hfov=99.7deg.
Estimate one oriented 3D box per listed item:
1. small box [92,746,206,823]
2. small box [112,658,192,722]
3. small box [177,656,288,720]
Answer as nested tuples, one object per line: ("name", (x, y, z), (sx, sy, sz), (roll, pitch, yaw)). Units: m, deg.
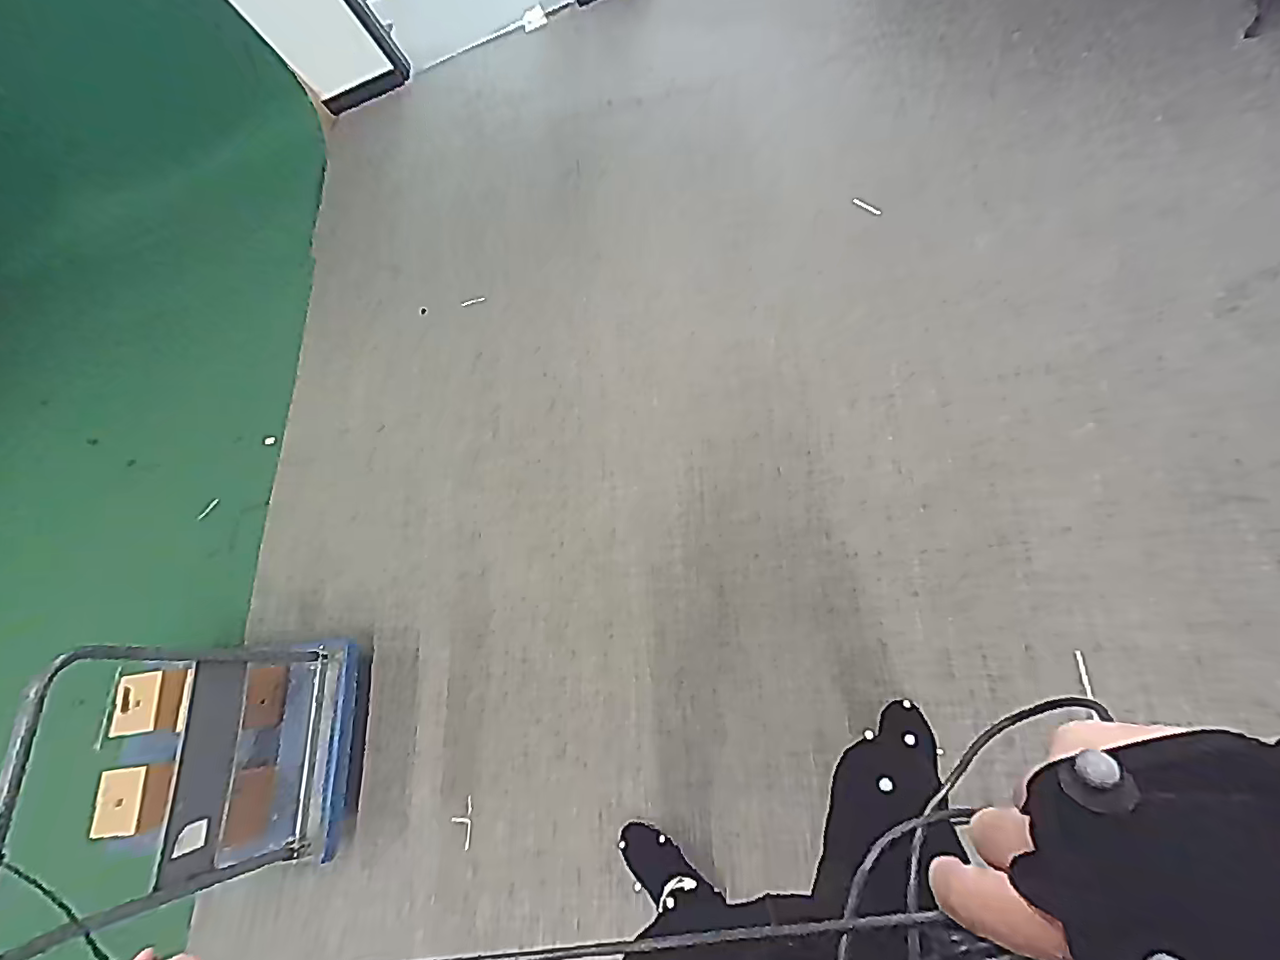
("small box", (-1.402, 0.870, 1.555), (0.179, 0.176, 0.168), (-12, 69, 15))
("small box", (-1.429, 0.635, 1.640), (0.179, 0.176, 0.168), (-11, 70, 14))
("small box", (-1.172, 0.599, 1.564), (0.179, 0.176, 0.168), (-7, 71, 16))
